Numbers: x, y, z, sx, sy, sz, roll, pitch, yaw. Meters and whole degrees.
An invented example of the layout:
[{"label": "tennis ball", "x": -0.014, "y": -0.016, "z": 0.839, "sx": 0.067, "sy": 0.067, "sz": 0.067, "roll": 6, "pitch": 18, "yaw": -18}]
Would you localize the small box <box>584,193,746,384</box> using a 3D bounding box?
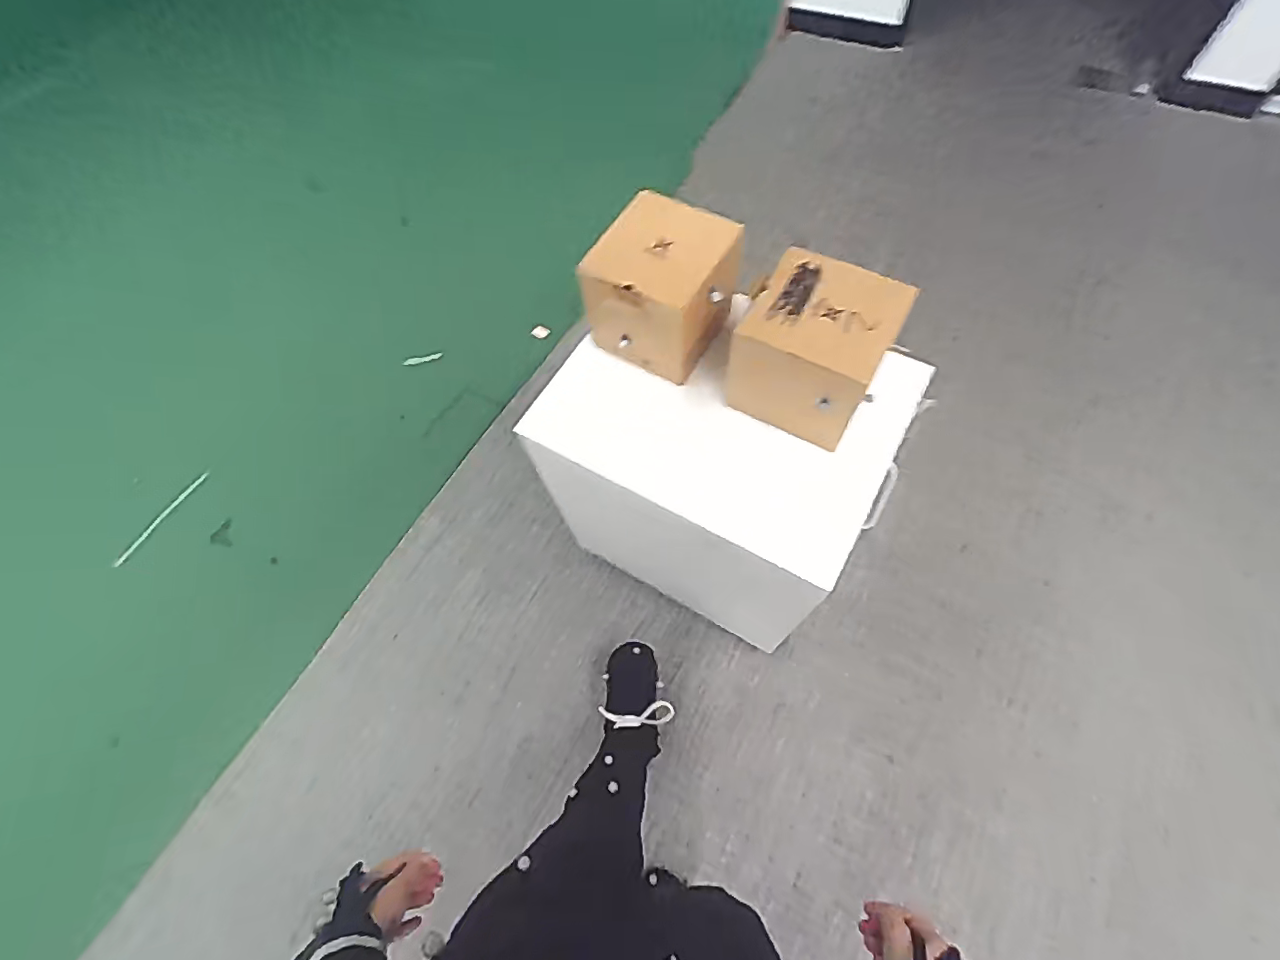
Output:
[{"label": "small box", "x": 0.038, "y": -0.281, "z": 0.811, "sx": 0.168, "sy": 0.176, "sz": 0.179, "roll": 28, "pitch": 70, "yaw": 16}]
